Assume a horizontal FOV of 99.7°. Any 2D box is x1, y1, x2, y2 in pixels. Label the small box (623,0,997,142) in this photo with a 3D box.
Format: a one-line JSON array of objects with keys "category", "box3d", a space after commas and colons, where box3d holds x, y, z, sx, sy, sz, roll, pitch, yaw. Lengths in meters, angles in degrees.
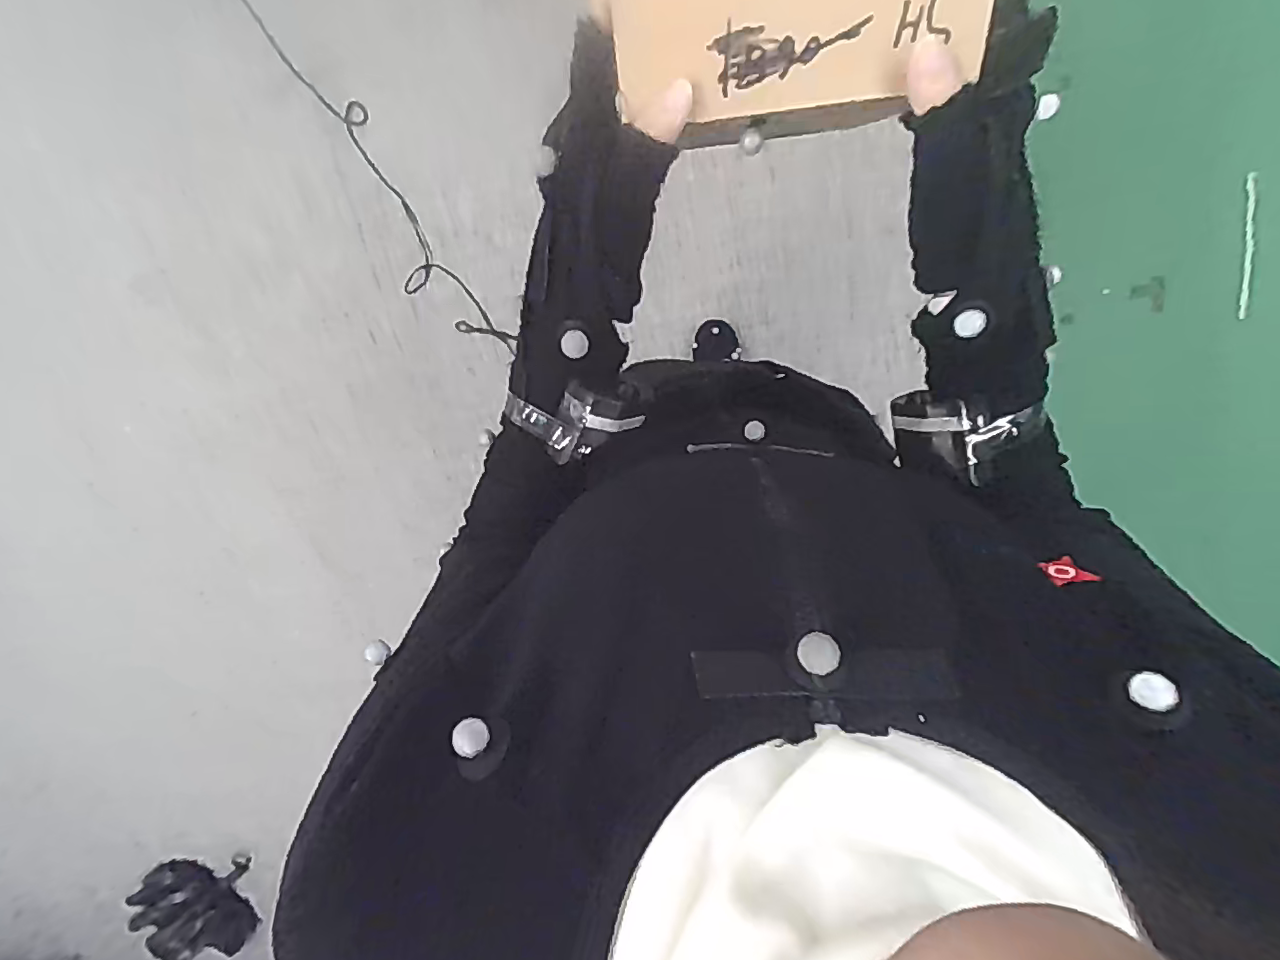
[{"category": "small box", "box3d": [0.070, -0.301, 0.288, 0.168, 0.176, 0.179, -7, 118, 5]}]
